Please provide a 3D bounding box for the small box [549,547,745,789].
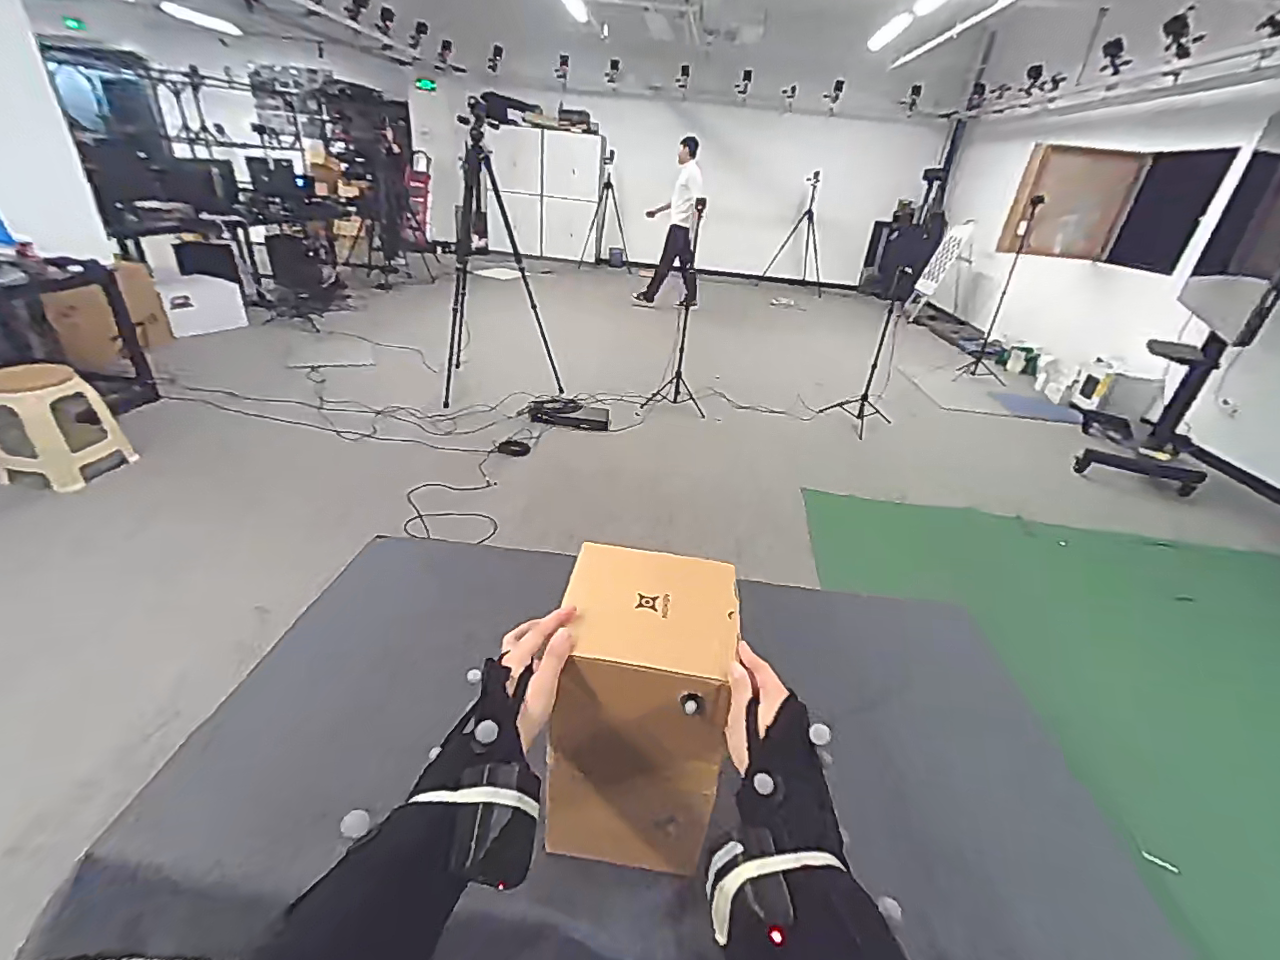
[{"bbox_3d":[0.007,0.195,0.574,0.179,0.176,0.168,8,29,3],"label":"small box"}]
